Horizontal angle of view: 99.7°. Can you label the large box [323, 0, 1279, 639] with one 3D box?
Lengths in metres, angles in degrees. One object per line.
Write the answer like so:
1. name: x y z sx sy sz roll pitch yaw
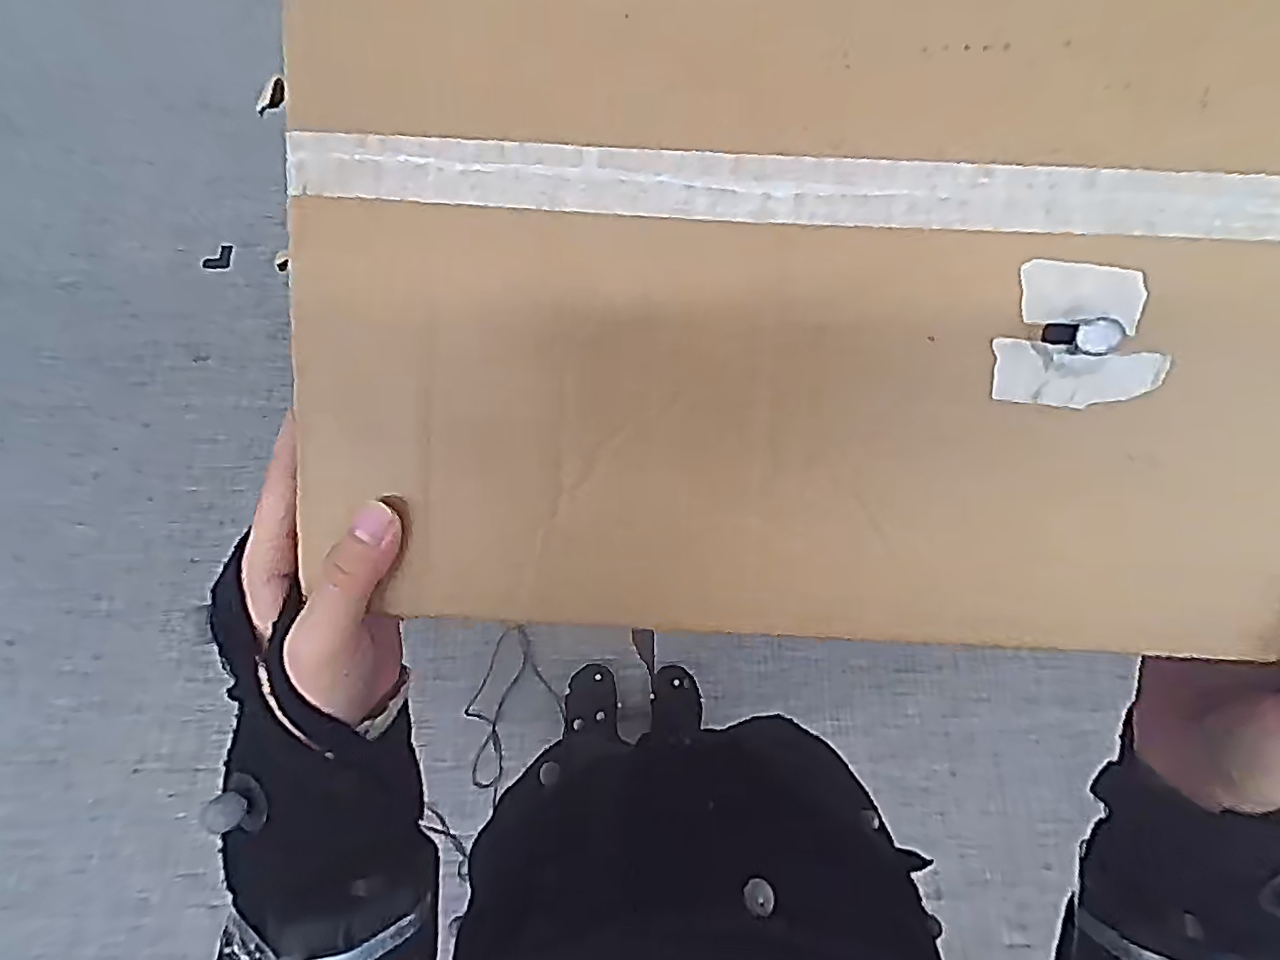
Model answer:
1. large box: 0.082 -0.106 0.344 0.408 0.320 0.320 2 96 -1
